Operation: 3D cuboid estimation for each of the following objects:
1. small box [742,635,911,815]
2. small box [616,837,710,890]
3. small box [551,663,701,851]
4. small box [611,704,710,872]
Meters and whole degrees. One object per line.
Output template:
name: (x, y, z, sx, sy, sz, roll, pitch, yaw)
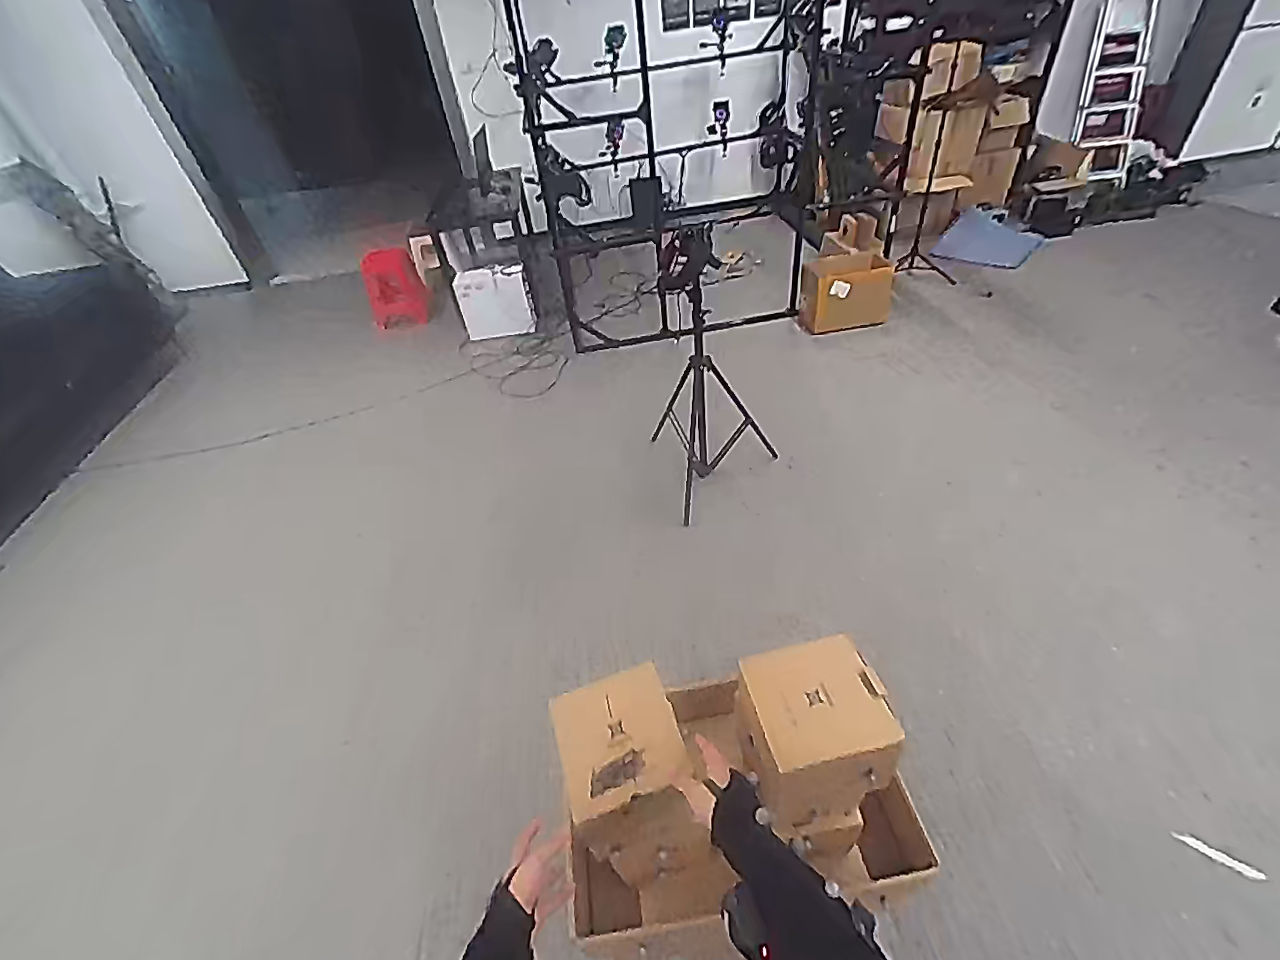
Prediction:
small box: (0.257, 0.359, 0.793, 0.179, 0.176, 0.168, -12, 40, -4)
small box: (0.027, 0.633, 1.026, 0.168, 0.176, 0.179, -16, 42, -7)
small box: (-0.018, 0.408, 0.790, 0.168, 0.176, 0.179, -17, 42, -9)
small box: (0.011, 0.518, 0.910, 0.168, 0.176, 0.179, -16, 42, -7)
